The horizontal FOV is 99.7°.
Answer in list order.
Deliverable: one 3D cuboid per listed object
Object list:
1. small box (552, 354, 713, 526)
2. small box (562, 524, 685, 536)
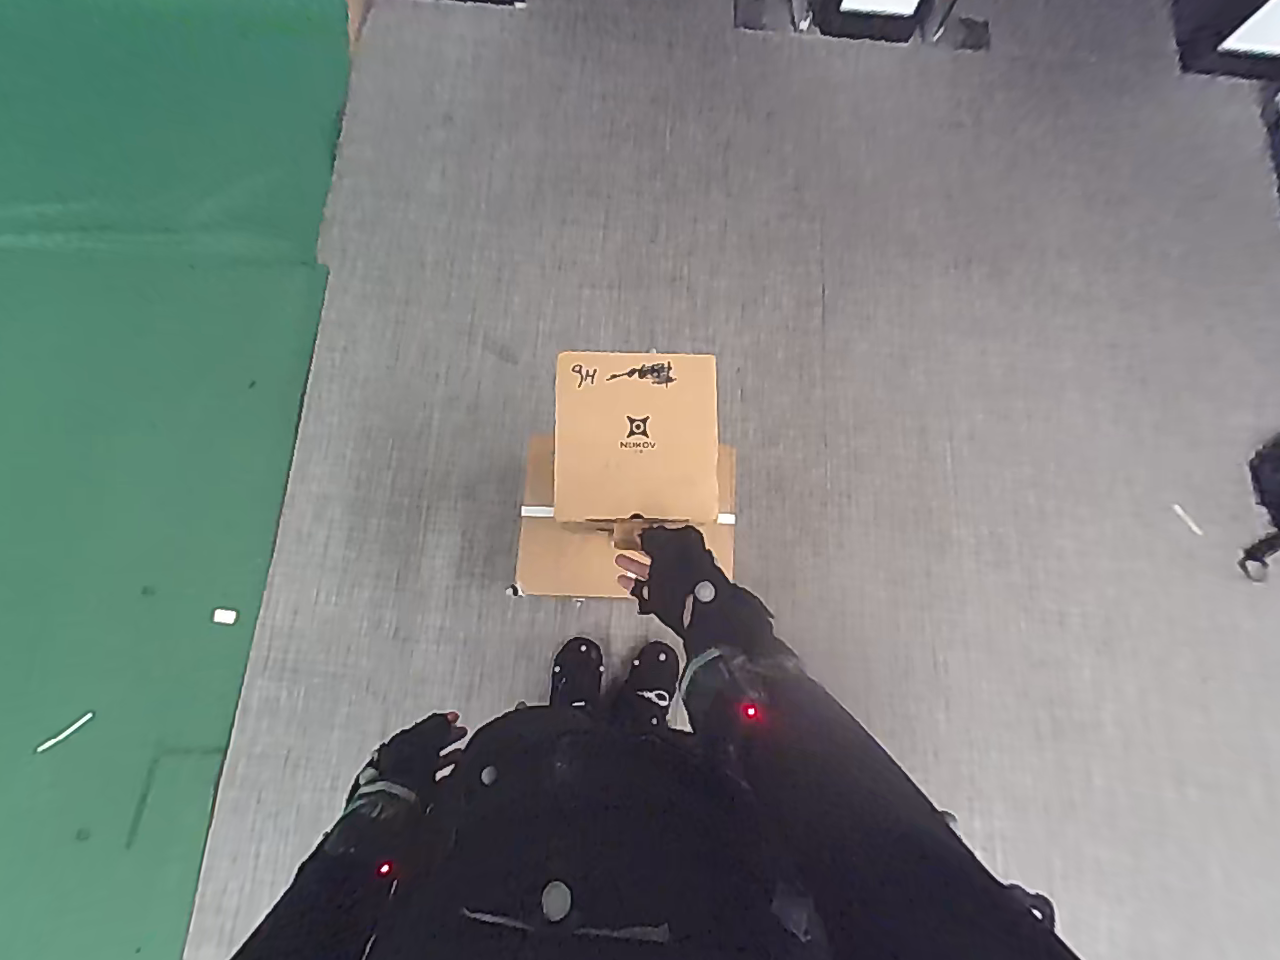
[{"bbox_3d":[-0.010,-0.035,0.631,0.168,0.176,0.179,0,83,-4],"label":"small box"},{"bbox_3d":[-0.023,-0.009,0.792,0.168,0.176,0.179,2,81,-4],"label":"small box"}]
